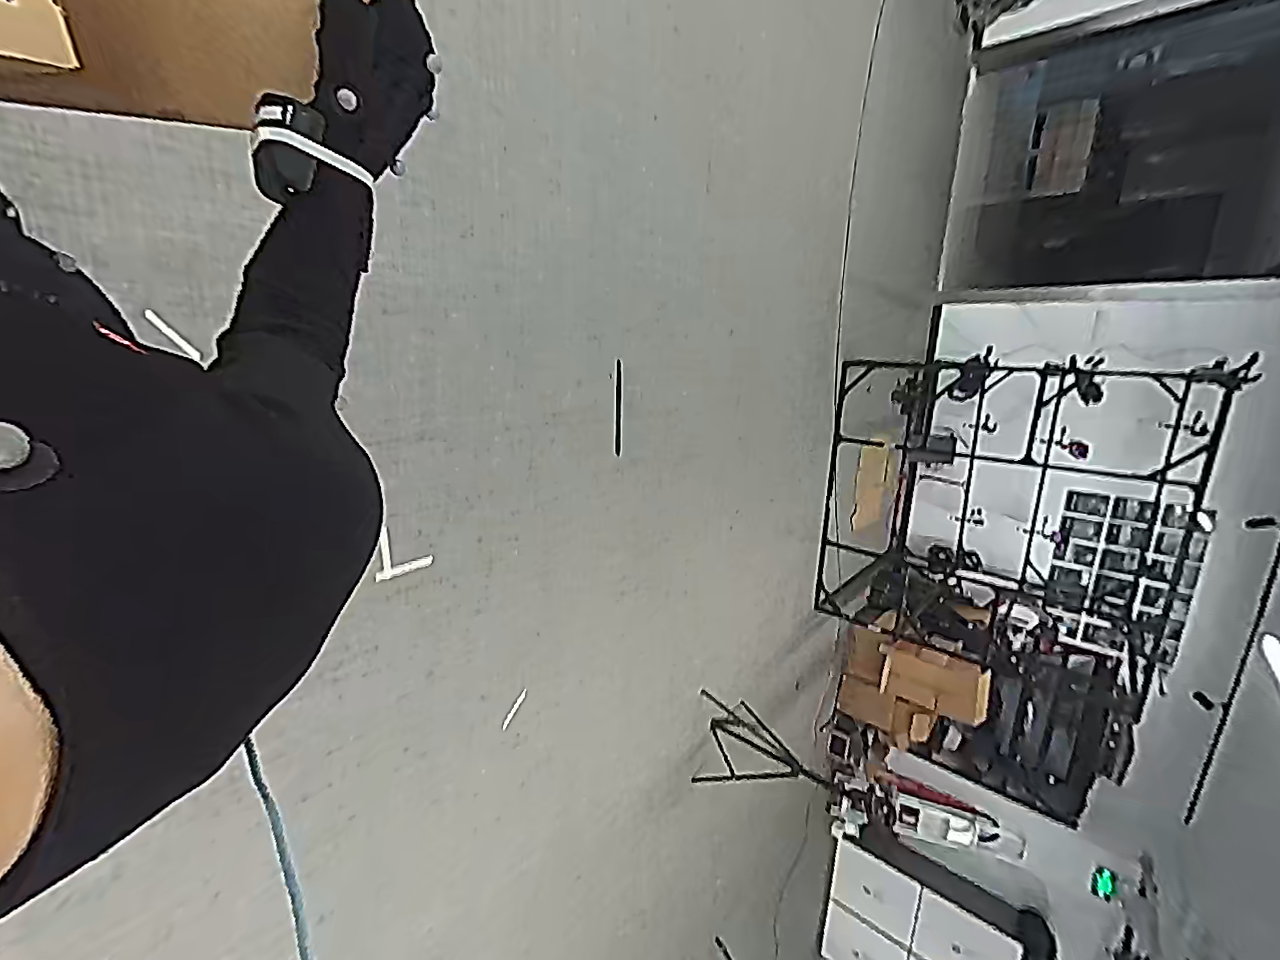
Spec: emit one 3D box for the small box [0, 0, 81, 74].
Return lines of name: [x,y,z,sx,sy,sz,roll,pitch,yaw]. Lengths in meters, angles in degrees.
small box: [-0.443,-0.311,0.251,0.179,0.176,0.168,-43,142,-57]
